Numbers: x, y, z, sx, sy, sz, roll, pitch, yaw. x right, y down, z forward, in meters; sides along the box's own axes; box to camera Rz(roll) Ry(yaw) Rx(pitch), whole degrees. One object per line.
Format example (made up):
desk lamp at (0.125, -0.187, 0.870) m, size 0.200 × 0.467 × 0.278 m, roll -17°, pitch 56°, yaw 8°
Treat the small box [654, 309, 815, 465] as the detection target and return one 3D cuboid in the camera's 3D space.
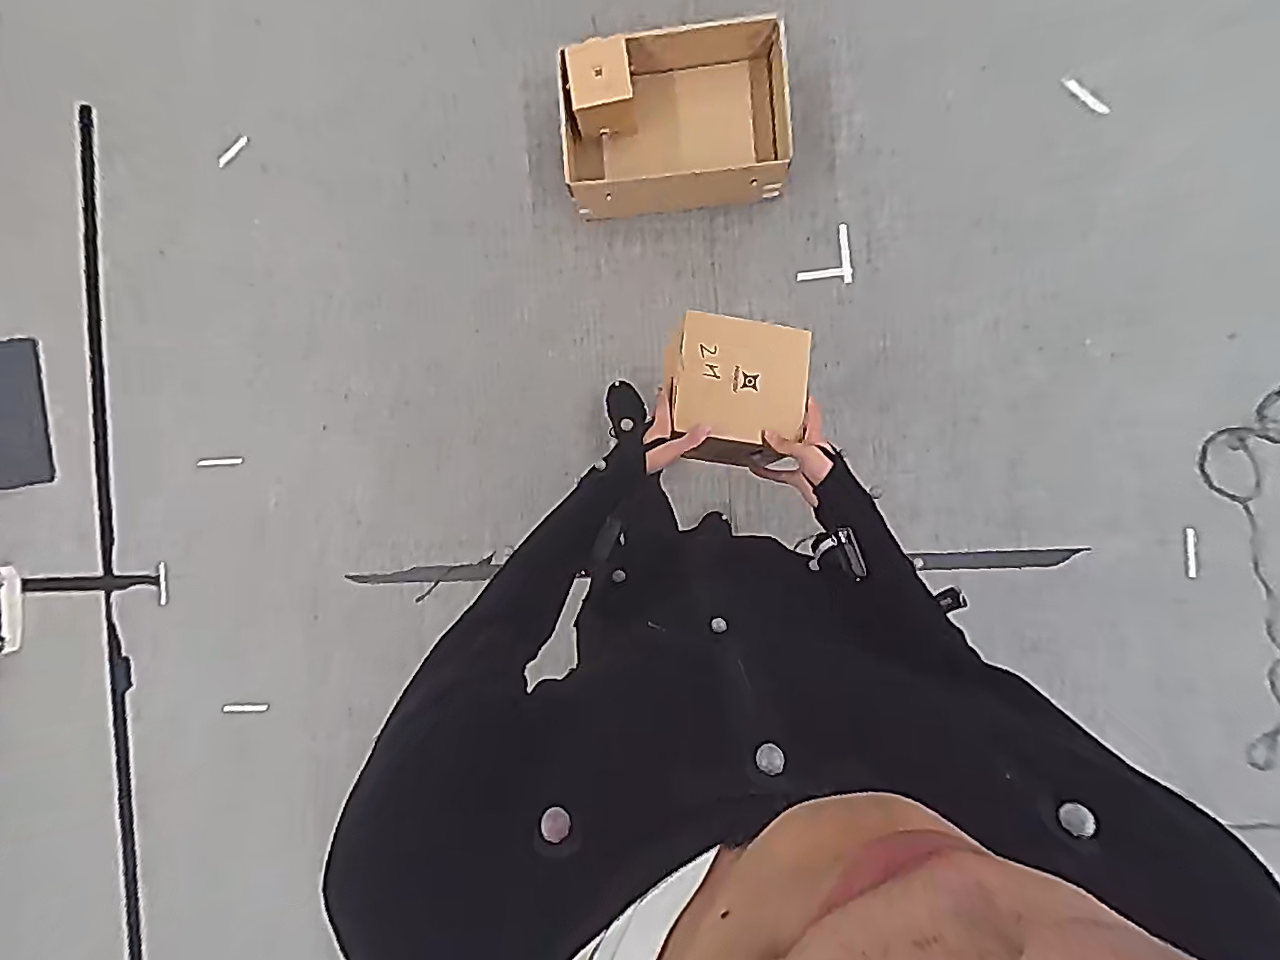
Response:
small box at (0.126, -0.120, 0.772) m, size 0.179 × 0.176 × 0.168 m, roll 8°, pitch 82°, yaw -5°
